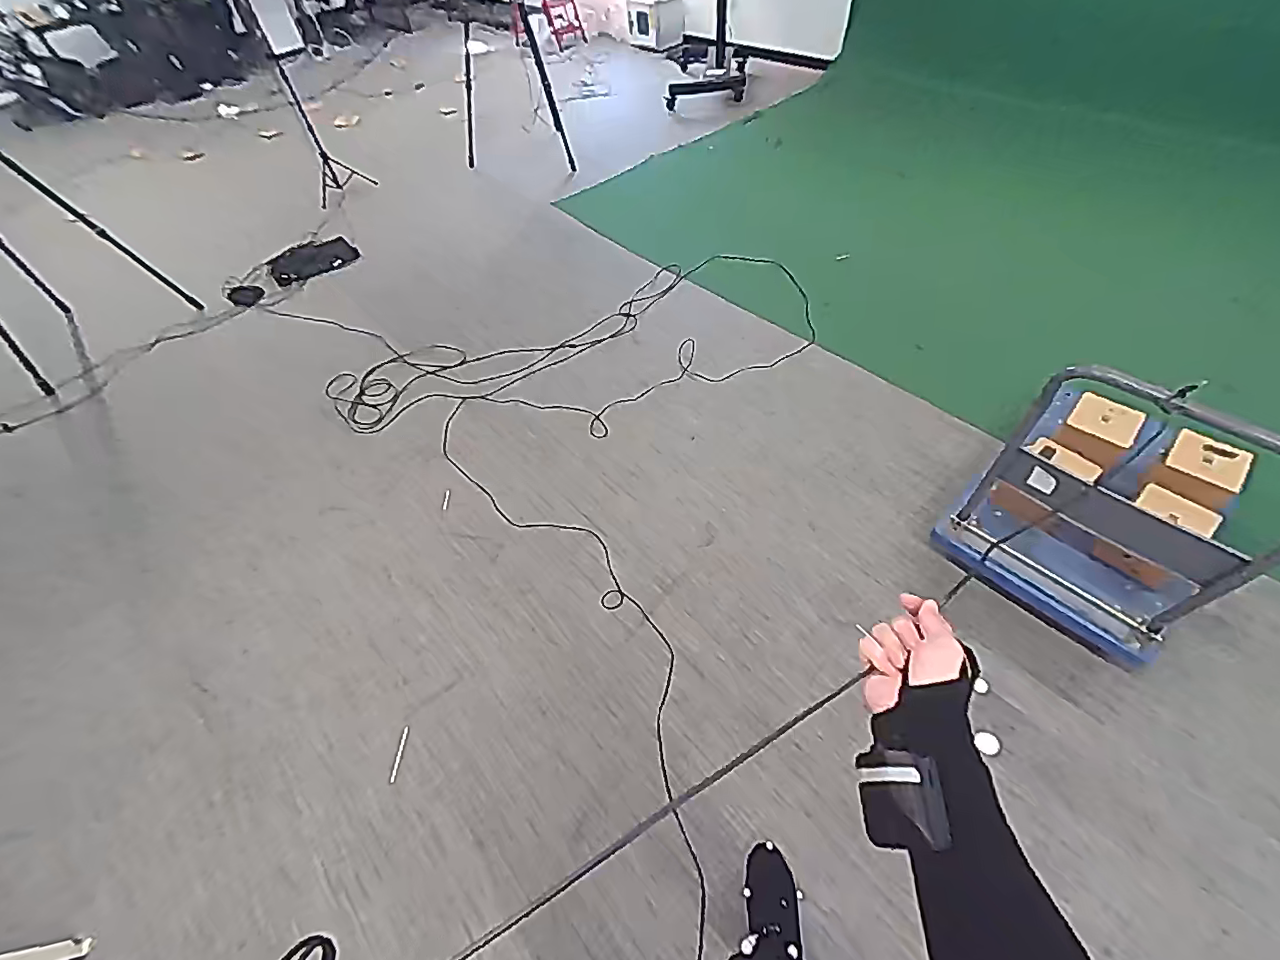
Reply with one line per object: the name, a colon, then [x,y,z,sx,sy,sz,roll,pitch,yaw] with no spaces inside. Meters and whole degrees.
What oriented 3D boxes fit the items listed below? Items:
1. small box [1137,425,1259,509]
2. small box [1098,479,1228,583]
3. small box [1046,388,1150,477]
small box: [1.576,-0.018,1.537,0.168,0.176,0.179,34,64,29]
small box: [1.379,0.139,1.439,0.179,0.176,0.168,-38,57,-20]
small box: [1.393,-0.142,1.658,0.168,0.176,0.179,35,63,28]
